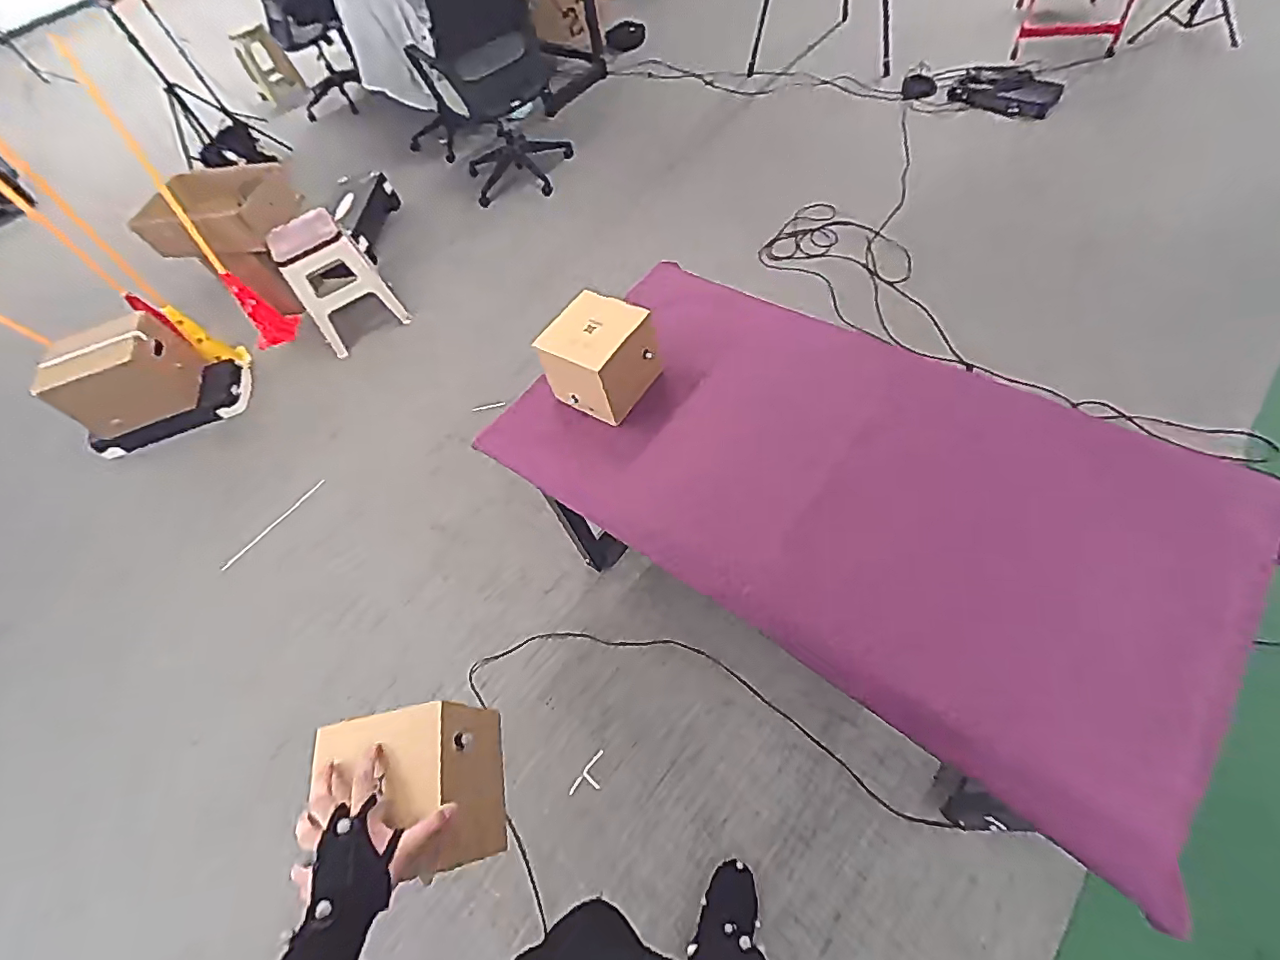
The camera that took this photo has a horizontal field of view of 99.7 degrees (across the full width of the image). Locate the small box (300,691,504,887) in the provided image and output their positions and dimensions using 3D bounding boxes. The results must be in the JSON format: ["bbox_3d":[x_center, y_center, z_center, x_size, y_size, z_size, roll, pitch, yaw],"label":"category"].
[{"bbox_3d":[-0.282,0.380,0.681,0.168,0.176,0.179,-14,61,6],"label":"small box"}]

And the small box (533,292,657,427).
[{"bbox_3d":[-0.080,-0.241,1.093,0.168,0.176,0.179,27,67,26],"label":"small box"}]
